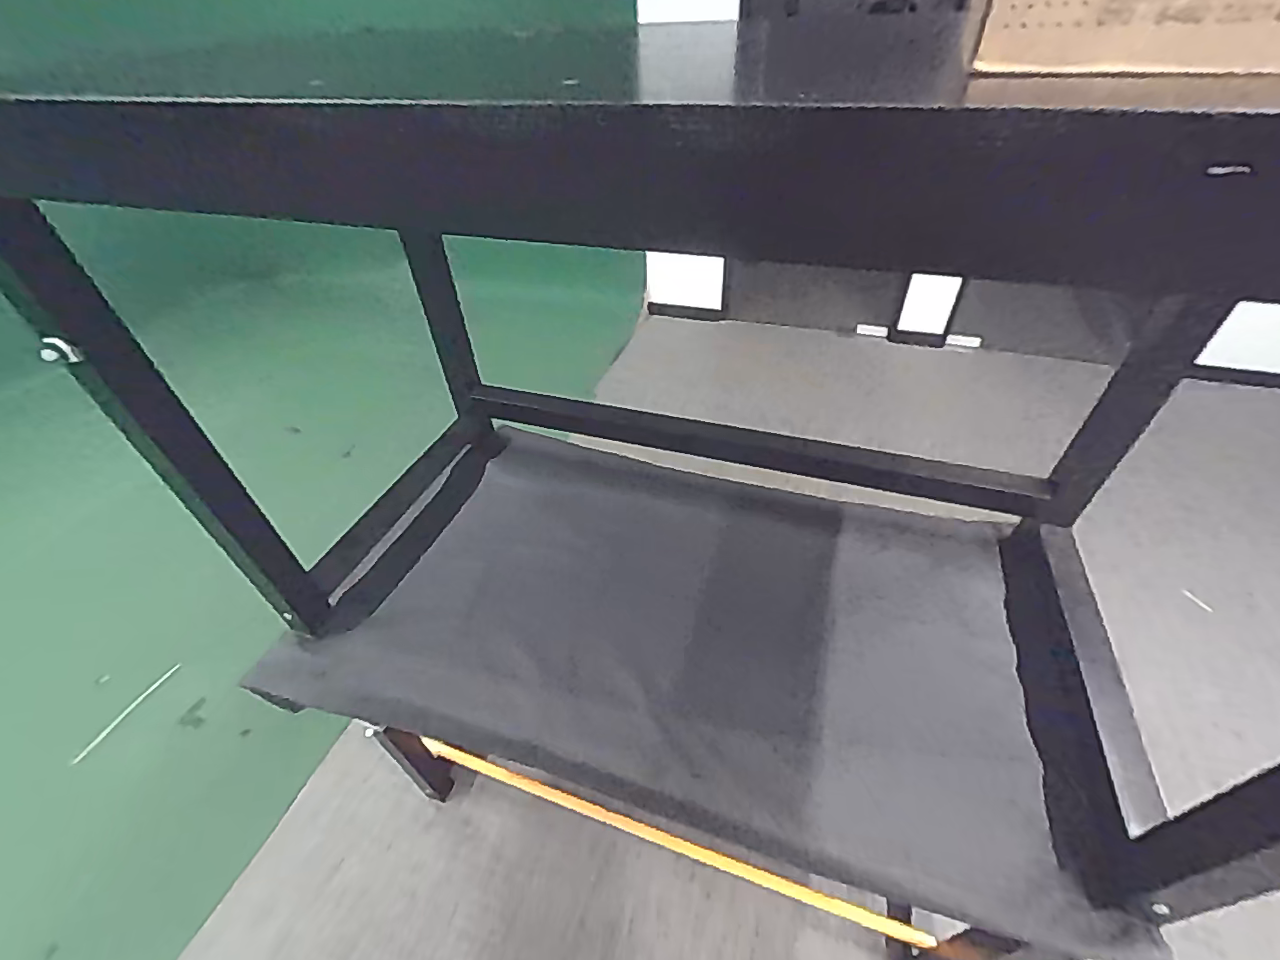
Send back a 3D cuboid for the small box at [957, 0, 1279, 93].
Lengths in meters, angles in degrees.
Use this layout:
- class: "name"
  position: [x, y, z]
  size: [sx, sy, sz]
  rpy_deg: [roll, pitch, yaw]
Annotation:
- class: "small box"
  position: [0.251, -0.279, 0.228]
  size: [0.168, 0.176, 0.179]
  rpy_deg: [15, 45, 18]
